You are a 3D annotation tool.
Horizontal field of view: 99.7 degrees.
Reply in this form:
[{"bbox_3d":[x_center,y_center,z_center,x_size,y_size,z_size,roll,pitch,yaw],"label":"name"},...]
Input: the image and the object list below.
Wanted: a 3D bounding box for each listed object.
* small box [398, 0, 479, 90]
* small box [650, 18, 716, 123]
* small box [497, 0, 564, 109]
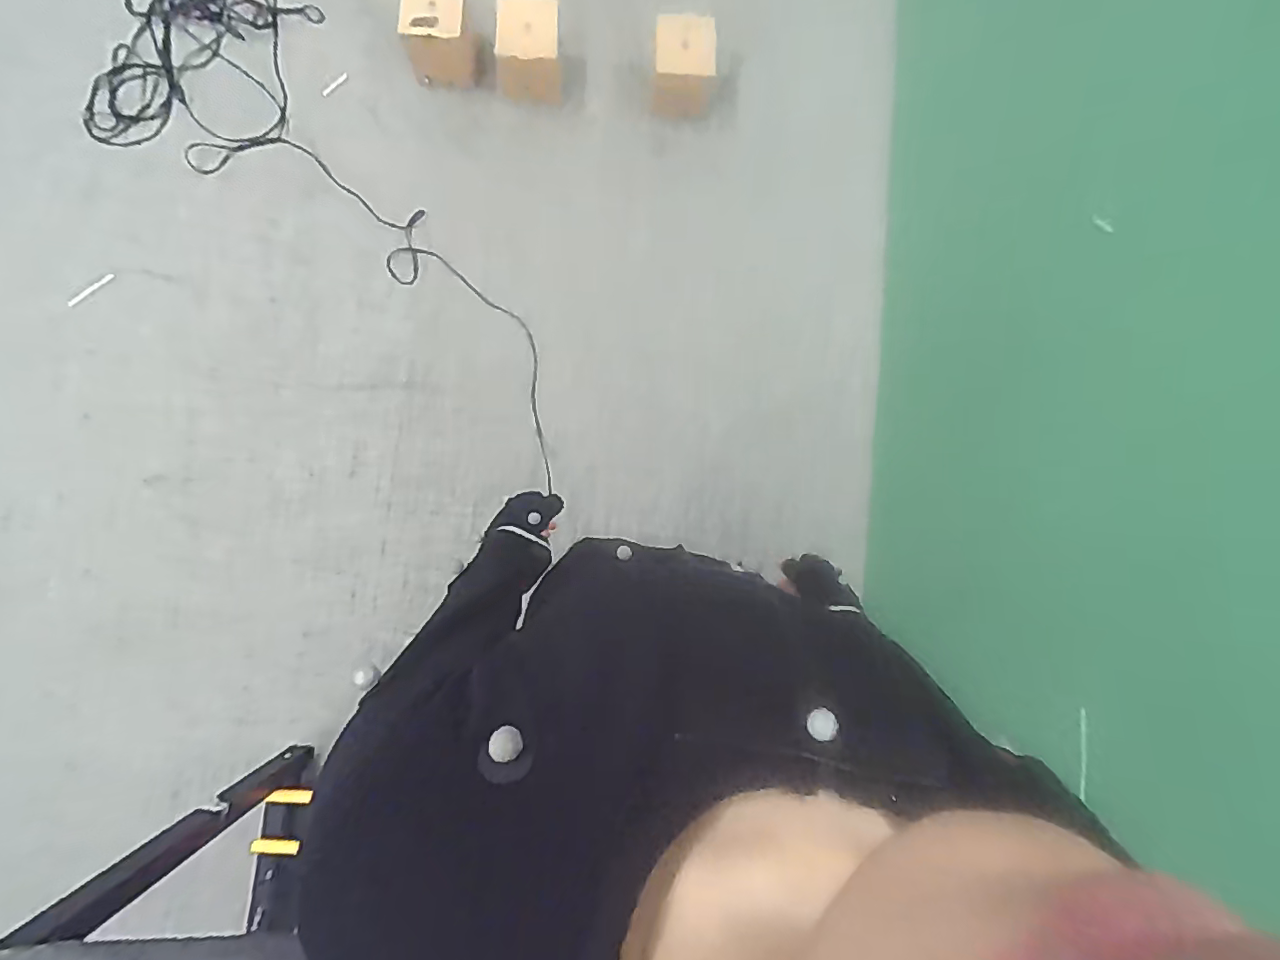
[{"bbox_3d":[-0.557,-1.241,1.516,0.168,0.176,0.179,3,83,-3],"label":"small box"},{"bbox_3d":[0.120,-1.167,1.551,0.168,0.176,0.179,1,85,-5],"label":"small box"},{"bbox_3d":[-0.305,-1.198,1.528,0.168,0.176,0.179,0,85,-3],"label":"small box"}]
